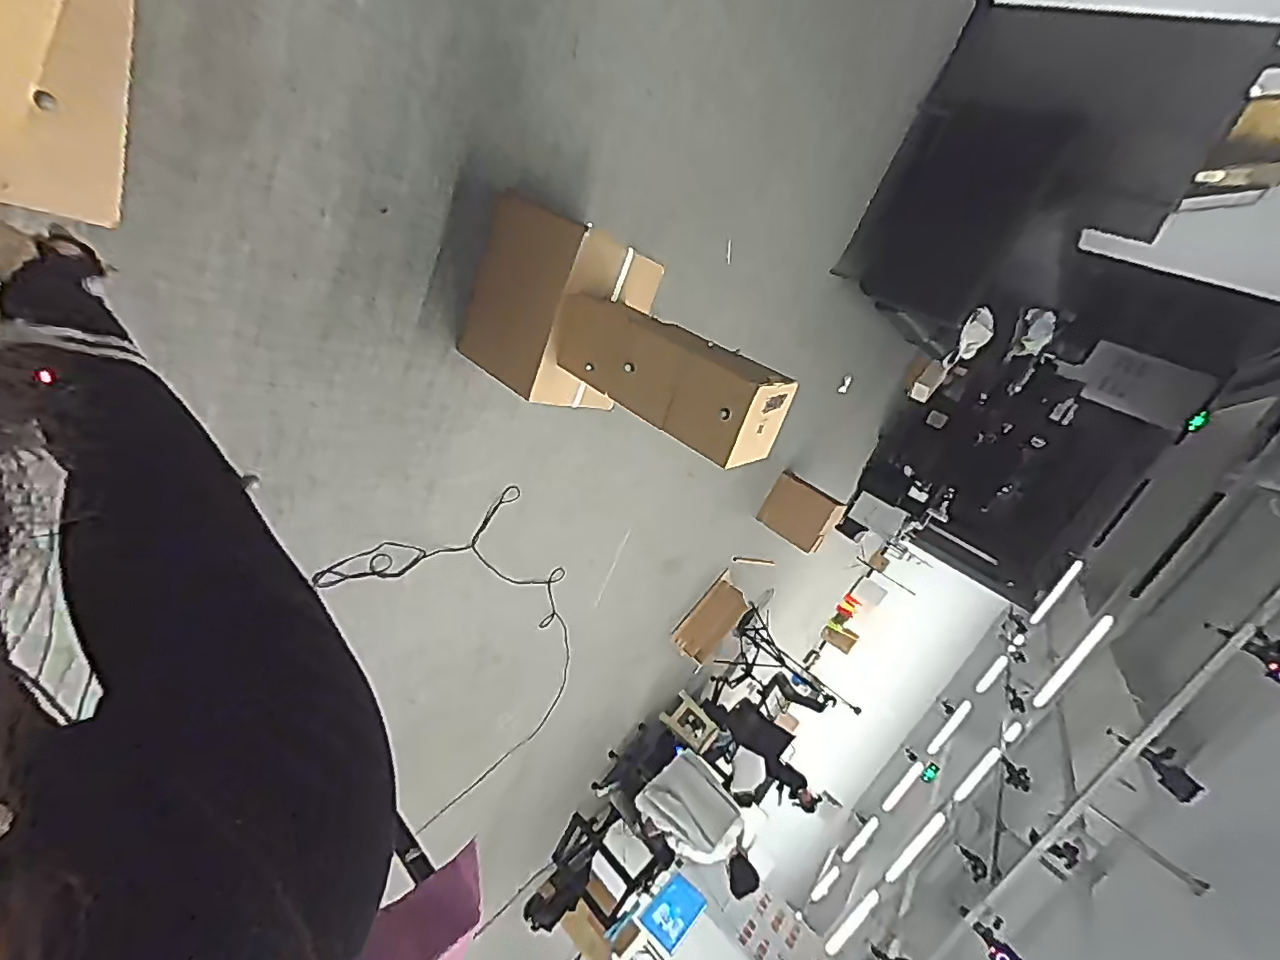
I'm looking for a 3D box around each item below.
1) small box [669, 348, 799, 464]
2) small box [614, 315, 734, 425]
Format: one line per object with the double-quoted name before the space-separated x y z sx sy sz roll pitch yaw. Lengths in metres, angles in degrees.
"small box" 0.184 -0.157 1.092 0.168 0.176 0.179 -15 133 -47
"small box" 0.068 -0.240 1.177 0.168 0.176 0.179 -14 133 -47
